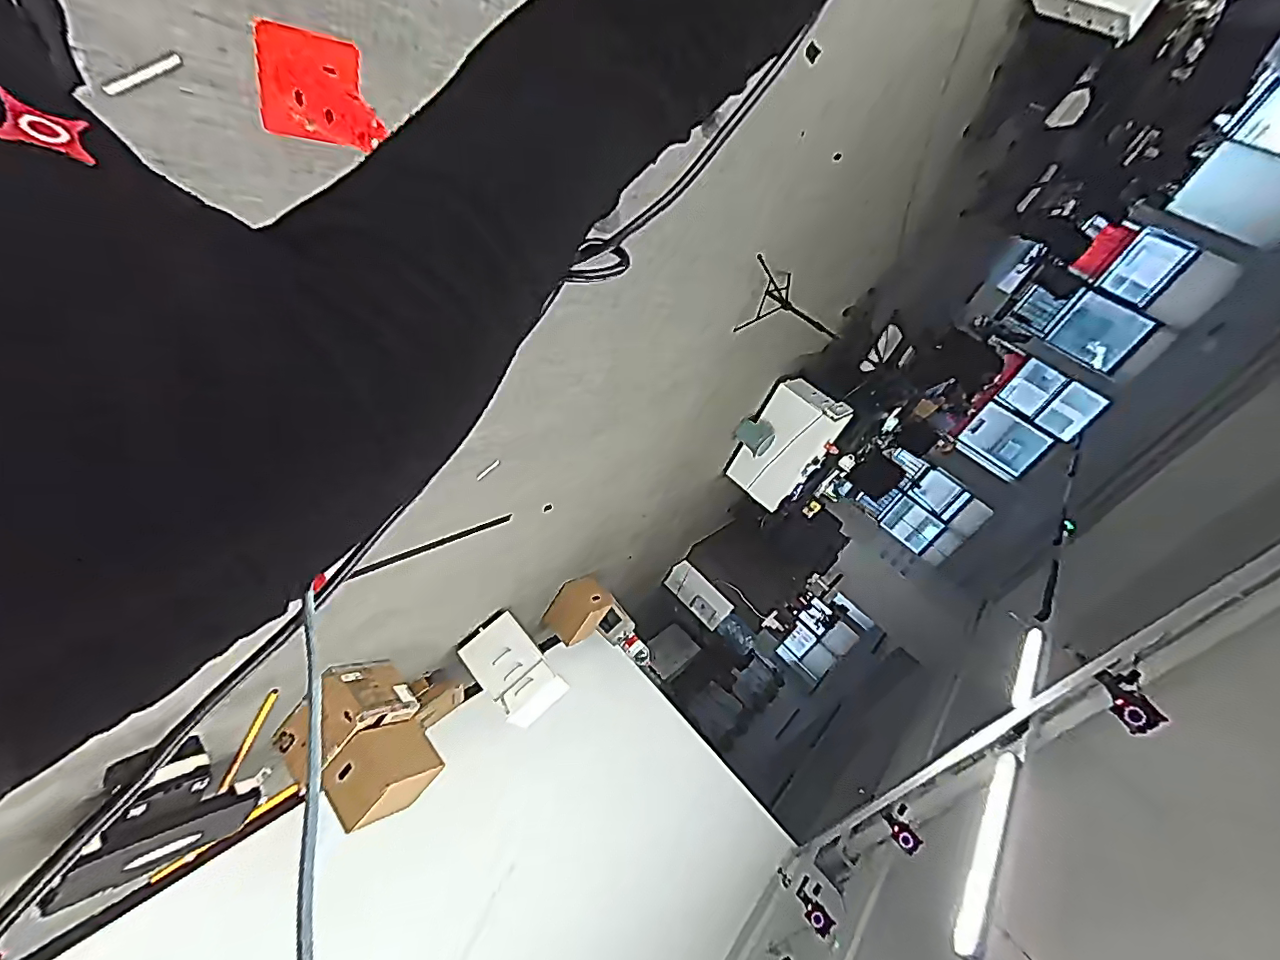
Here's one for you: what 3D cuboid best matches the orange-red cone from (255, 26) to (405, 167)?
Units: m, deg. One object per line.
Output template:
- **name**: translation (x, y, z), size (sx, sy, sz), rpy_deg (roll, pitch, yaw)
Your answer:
- **orange-red cone**: translation (-0.586, -0.722, 1.088), size (0.198, 0.360, 0.199), rpy_deg (-24, 147, -46)
